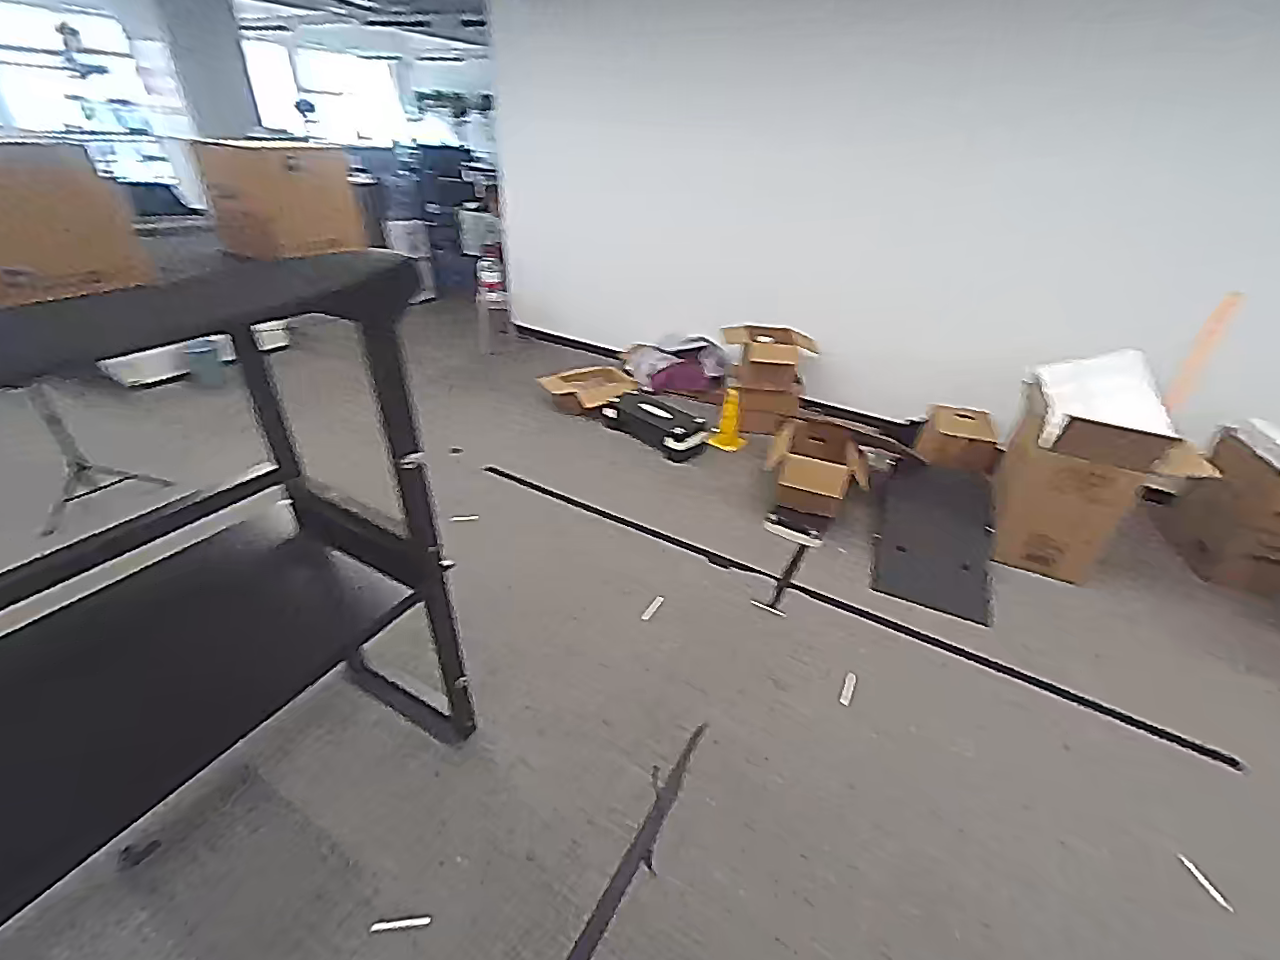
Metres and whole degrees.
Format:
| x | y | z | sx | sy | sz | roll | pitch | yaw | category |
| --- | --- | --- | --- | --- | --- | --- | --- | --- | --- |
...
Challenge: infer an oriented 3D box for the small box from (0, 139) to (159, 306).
| x | y | z | sx | sy | sz | roll | pitch | yaw | category |
| --- | --- | --- | --- | --- | --- | --- | --- | --- | --- |
| -0.765 | -0.324 | 0.678 | 0.179 | 0.176 | 0.168 | 18 | 36 | 25 | small box |

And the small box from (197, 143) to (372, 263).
| x | y | z | sx | sy | sz | roll | pitch | yaw | category |
| --- | --- | --- | --- | --- | --- | --- | --- | --- | --- |
| -0.602 | -0.480 | 0.933 | 0.179 | 0.176 | 0.168 | 19 | 37 | 24 | small box |
